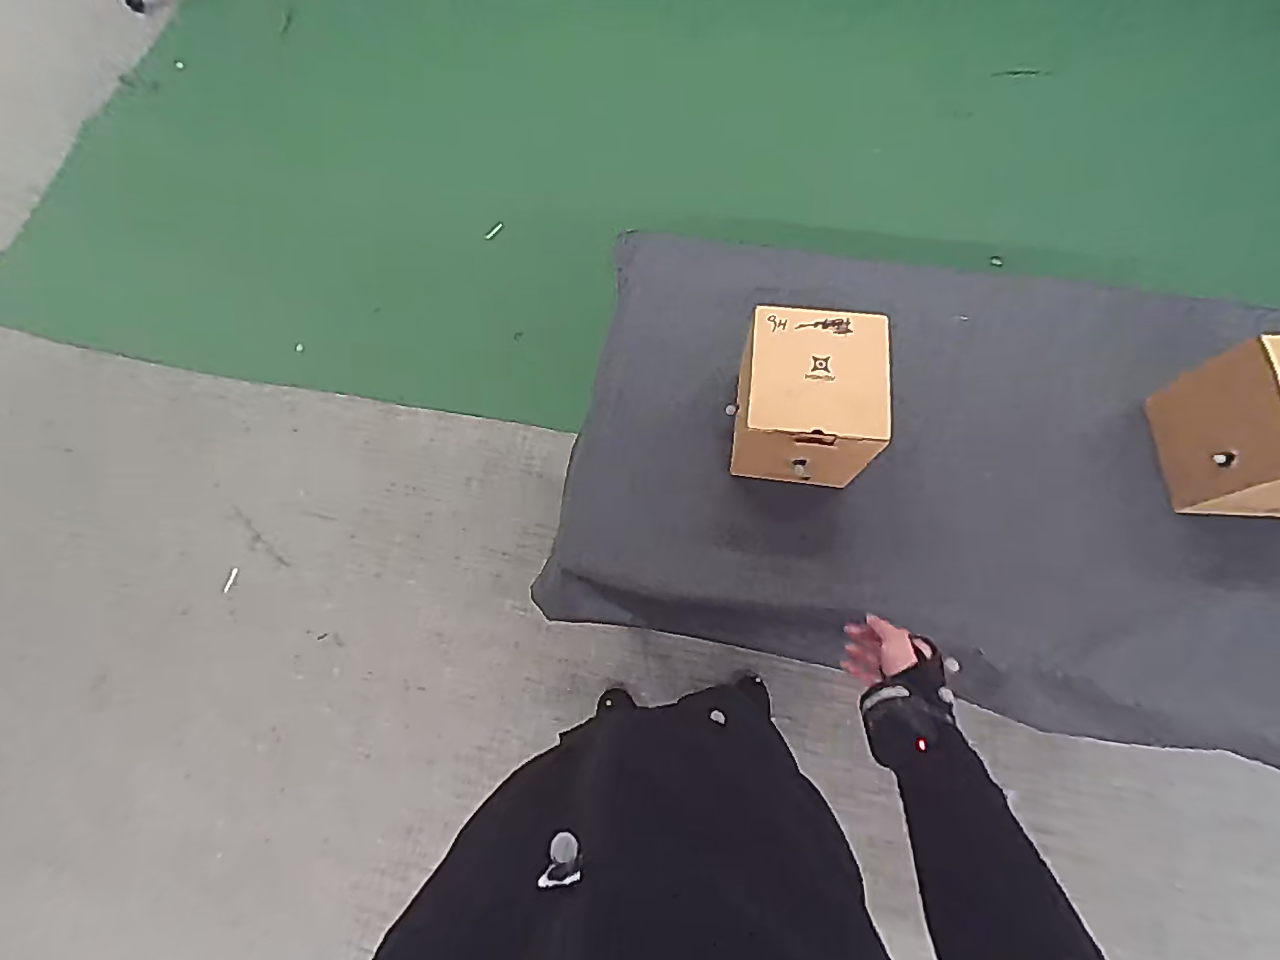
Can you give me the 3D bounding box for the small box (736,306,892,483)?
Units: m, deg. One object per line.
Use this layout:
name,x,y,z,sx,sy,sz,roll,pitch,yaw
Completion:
small box,0.225,-0.106,0.732,0.168,0.176,0.179,7,72,5

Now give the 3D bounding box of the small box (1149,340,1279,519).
small box,0.811,-0.054,0.683,0.168,0.176,0.179,3,70,3
